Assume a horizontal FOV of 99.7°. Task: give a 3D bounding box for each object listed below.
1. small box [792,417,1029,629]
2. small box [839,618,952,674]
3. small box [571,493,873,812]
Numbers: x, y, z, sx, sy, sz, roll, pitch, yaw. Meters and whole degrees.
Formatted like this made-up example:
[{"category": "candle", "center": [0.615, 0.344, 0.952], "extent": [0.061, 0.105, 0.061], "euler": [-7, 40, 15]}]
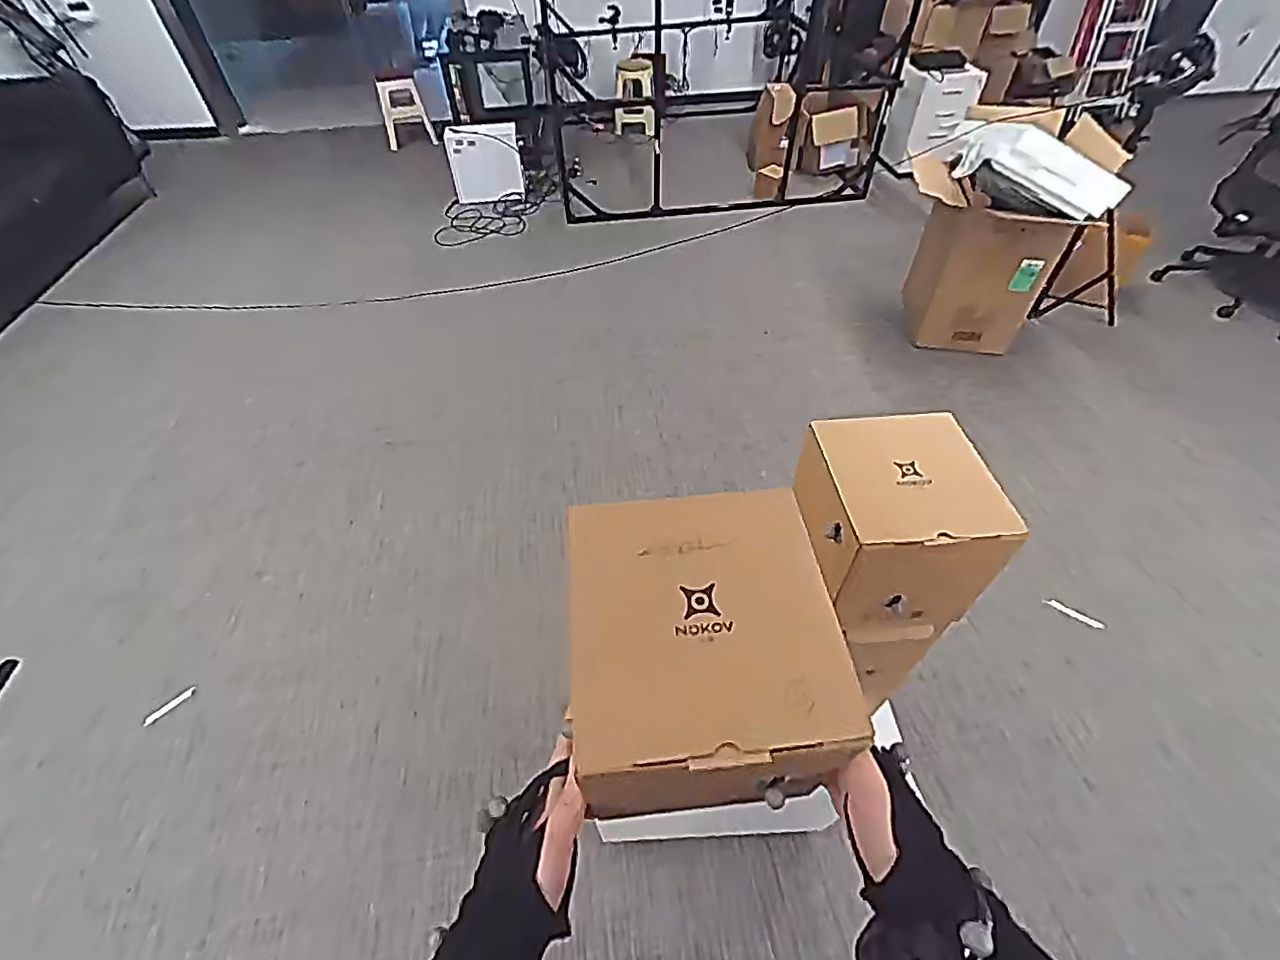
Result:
[{"category": "small box", "center": [0.279, 0.049, 0.617], "extent": [0.168, 0.176, 0.179], "euler": [-4, 49, -2]}, {"category": "small box", "center": [0.281, 0.156, 0.739], "extent": [0.168, 0.176, 0.179], "euler": [-4, 48, -2]}, {"category": "small box", "center": [0.041, 0.133, 0.401], "extent": [0.168, 0.176, 0.179], "euler": [-5, 51, -3]}]
